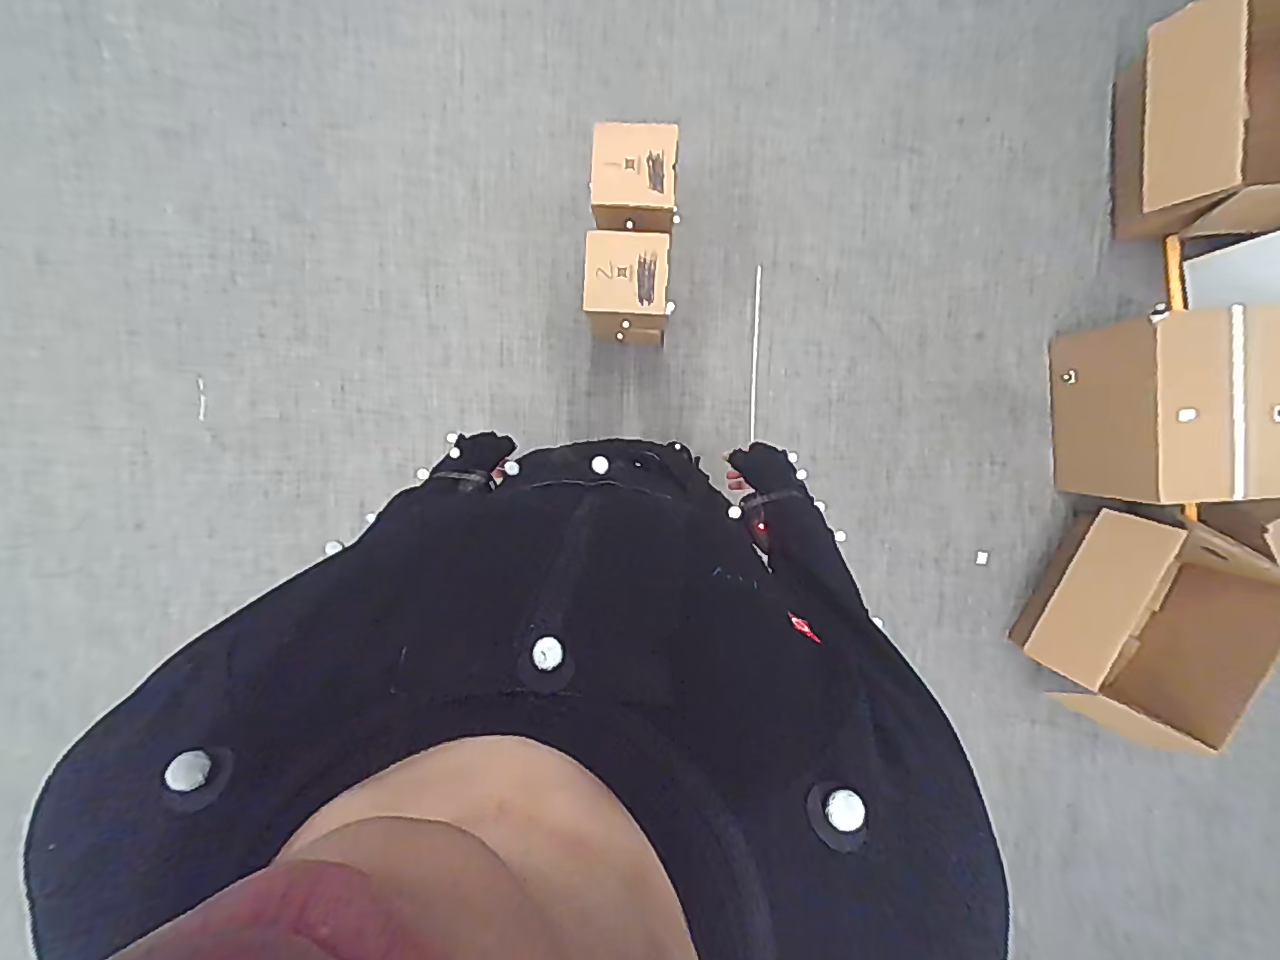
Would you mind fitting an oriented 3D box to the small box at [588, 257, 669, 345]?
[{"bbox_3d":[-0.024,-0.442,1.359,0.179,0.176,0.168,8,95,1],"label":"small box"}]
